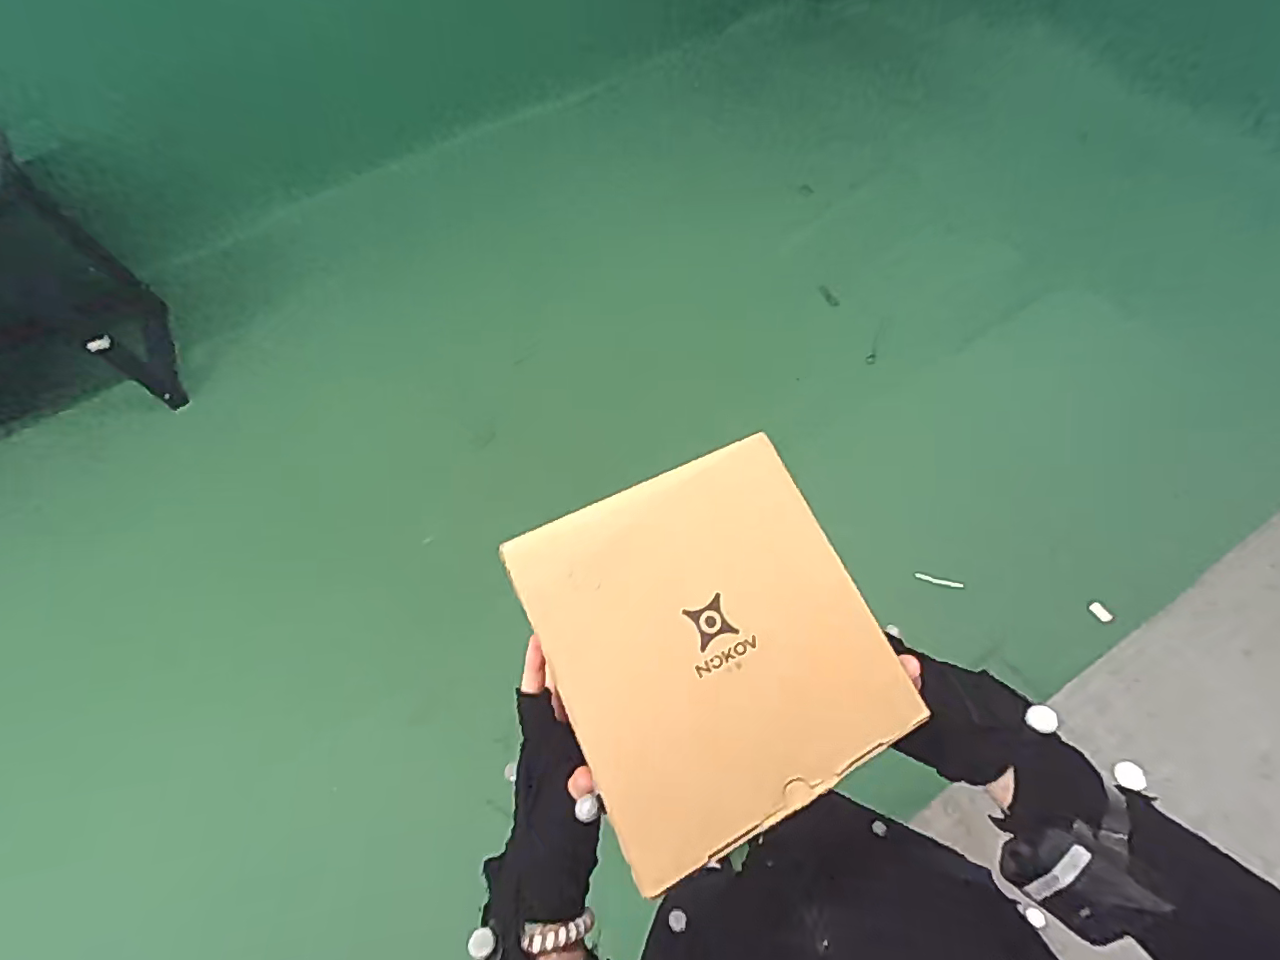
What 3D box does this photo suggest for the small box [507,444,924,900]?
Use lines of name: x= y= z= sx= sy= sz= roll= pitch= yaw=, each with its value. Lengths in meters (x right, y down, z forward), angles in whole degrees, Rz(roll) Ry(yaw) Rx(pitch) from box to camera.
small box: x=0.027 y=0.108 z=0.351 sx=0.168 sy=0.176 sz=0.179 roll=-23 pitch=76 yaw=-15
